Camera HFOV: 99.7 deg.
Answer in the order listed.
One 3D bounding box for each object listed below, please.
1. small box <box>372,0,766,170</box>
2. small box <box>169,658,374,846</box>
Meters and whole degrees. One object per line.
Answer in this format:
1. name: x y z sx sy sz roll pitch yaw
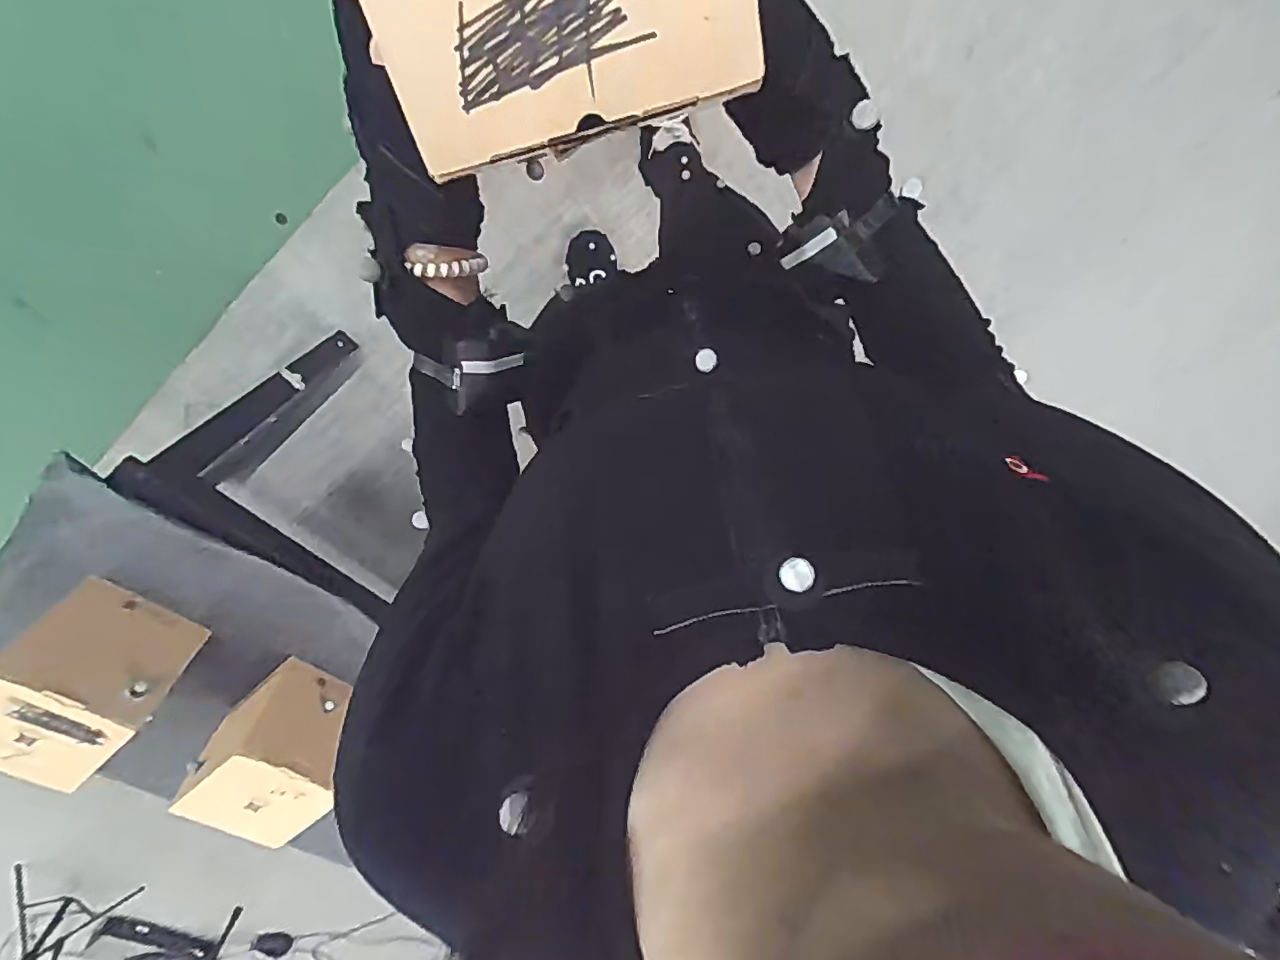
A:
1. small box: -0.042 -0.281 0.276 0.168 0.176 0.179 -13 122 6
2. small box: -0.546 0.413 0.831 0.179 0.176 0.168 -38 118 14
